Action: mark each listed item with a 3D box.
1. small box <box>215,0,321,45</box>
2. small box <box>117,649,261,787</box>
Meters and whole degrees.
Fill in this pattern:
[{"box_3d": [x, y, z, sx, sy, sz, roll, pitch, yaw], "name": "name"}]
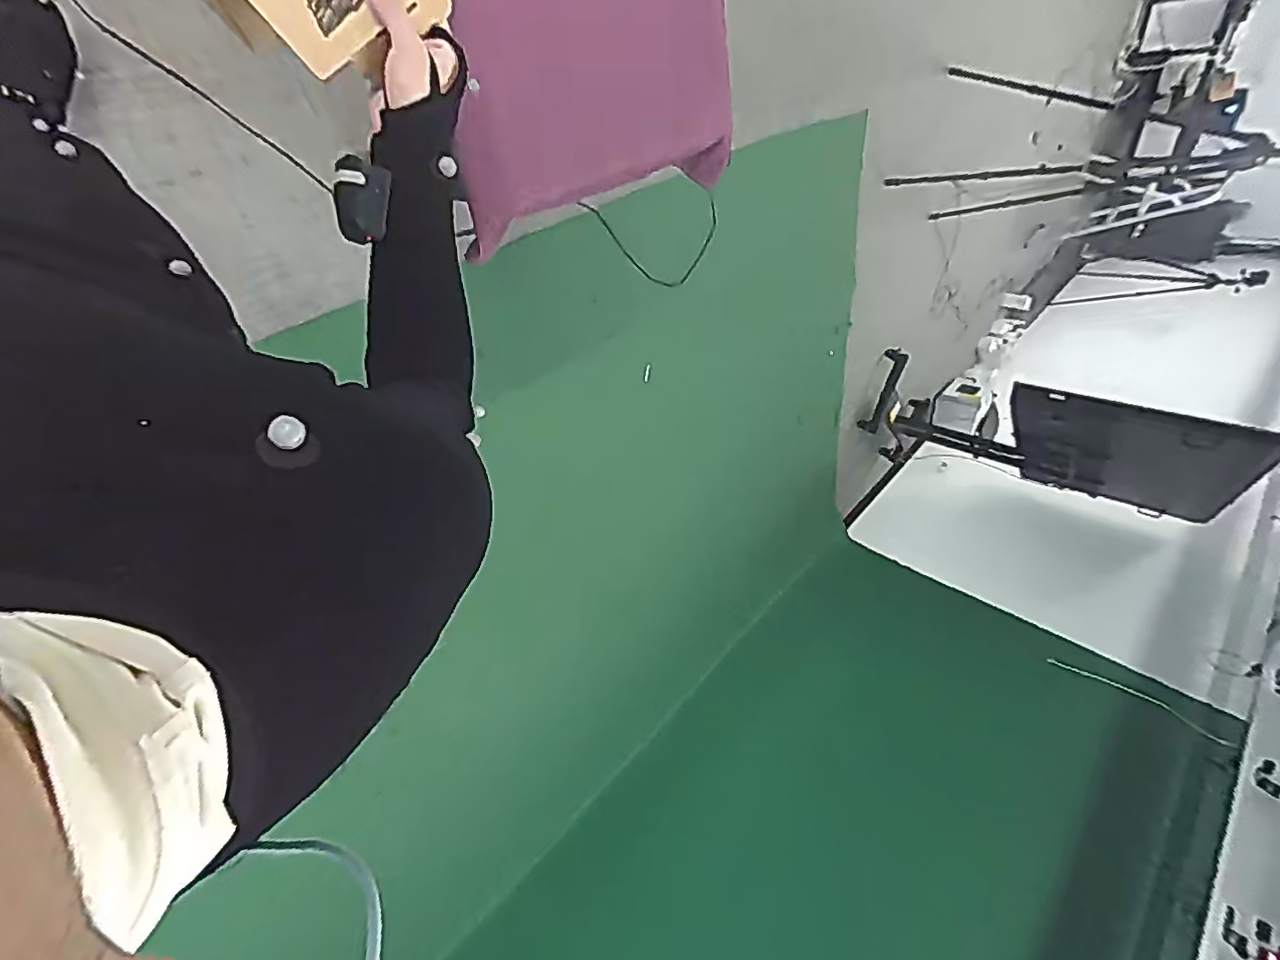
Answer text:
[{"box_3d": [-0.373, -0.557, 0.469, 0.168, 0.179, 0.176, -45, 95, -7], "name": "small box"}, {"box_3d": [-0.953, 0.495, 1.146, 0.168, 0.176, 0.179, -36, 133, -30], "name": "small box"}]
